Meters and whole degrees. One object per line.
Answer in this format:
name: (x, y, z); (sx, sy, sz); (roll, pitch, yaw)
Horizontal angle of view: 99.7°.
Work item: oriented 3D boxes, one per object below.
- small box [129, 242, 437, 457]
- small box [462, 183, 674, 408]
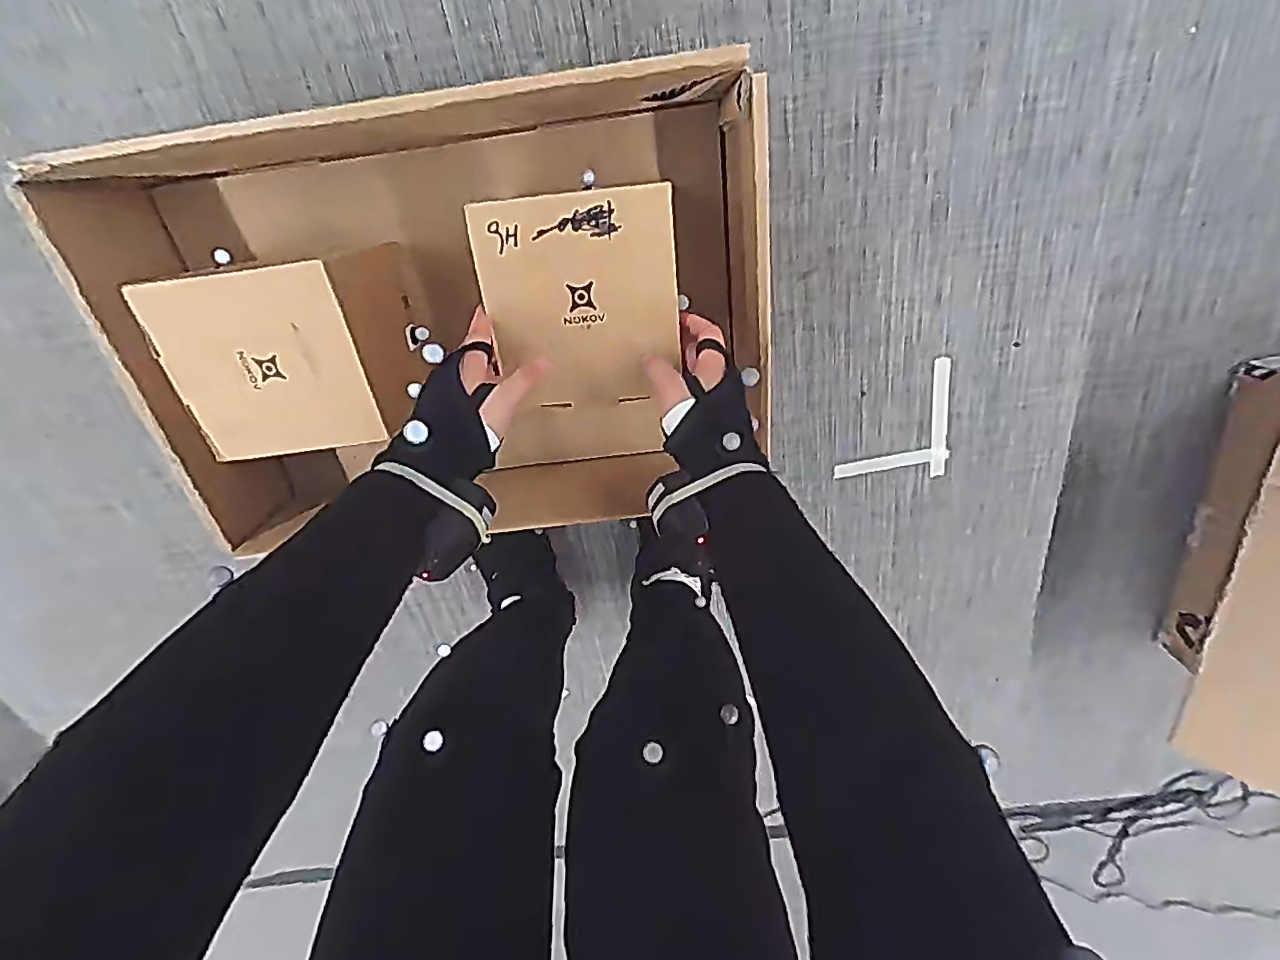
small box: (-0.338, -0.141, 0.558); (0.179, 0.176, 0.168); (-8, 119, 2)
small box: (-0.053, -0.188, 0.536); (0.168, 0.176, 0.179); (-5, 119, 3)
